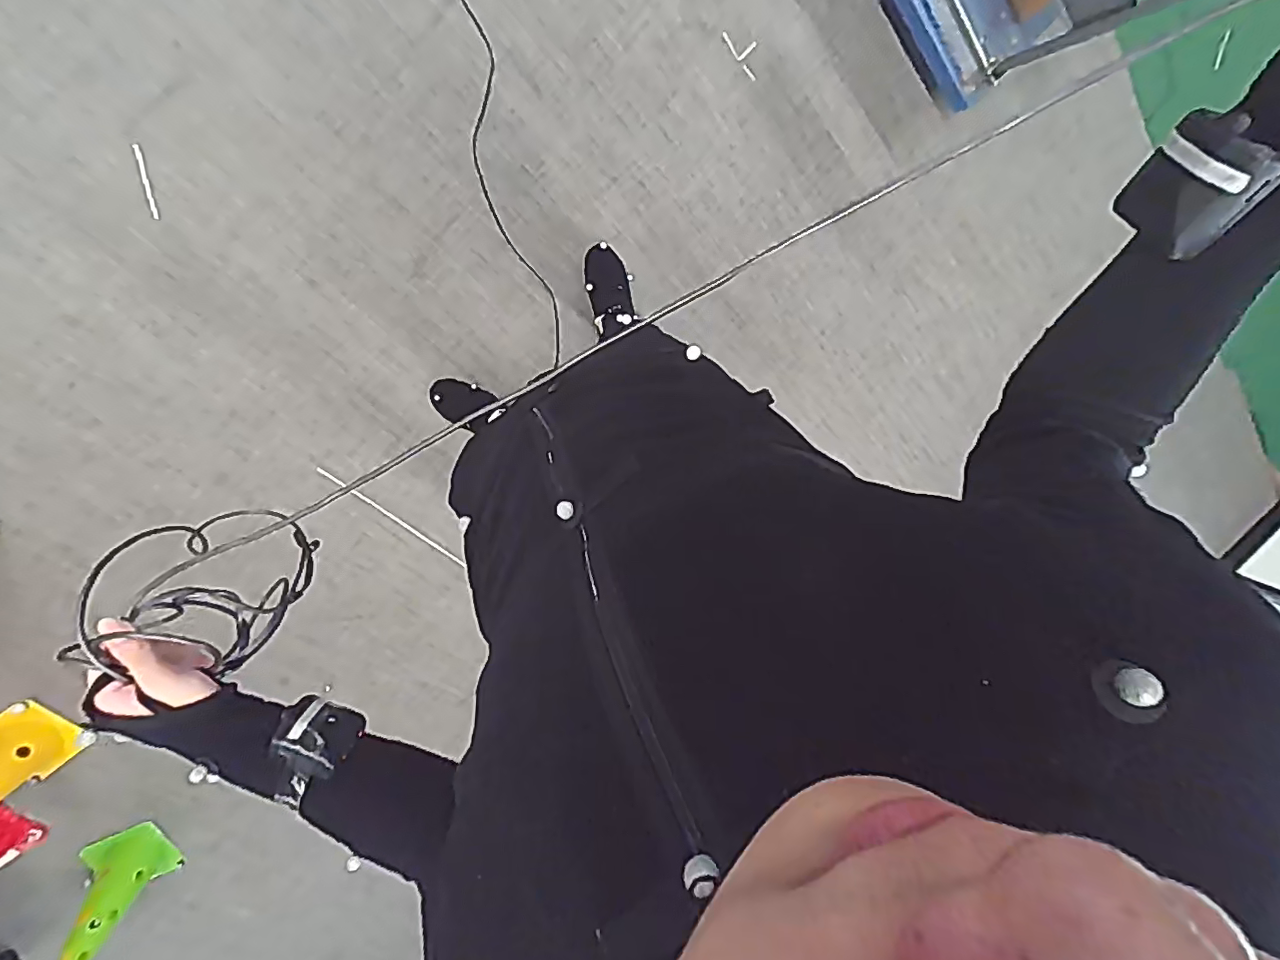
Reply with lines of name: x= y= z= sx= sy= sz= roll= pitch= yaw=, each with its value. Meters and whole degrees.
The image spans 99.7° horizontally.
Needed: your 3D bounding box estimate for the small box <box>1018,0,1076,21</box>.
small box: x=1.002 y=-1.232 z=1.249 sx=0.179 sy=0.176 sz=0.168 roll=-46 pitch=113 yaw=4
